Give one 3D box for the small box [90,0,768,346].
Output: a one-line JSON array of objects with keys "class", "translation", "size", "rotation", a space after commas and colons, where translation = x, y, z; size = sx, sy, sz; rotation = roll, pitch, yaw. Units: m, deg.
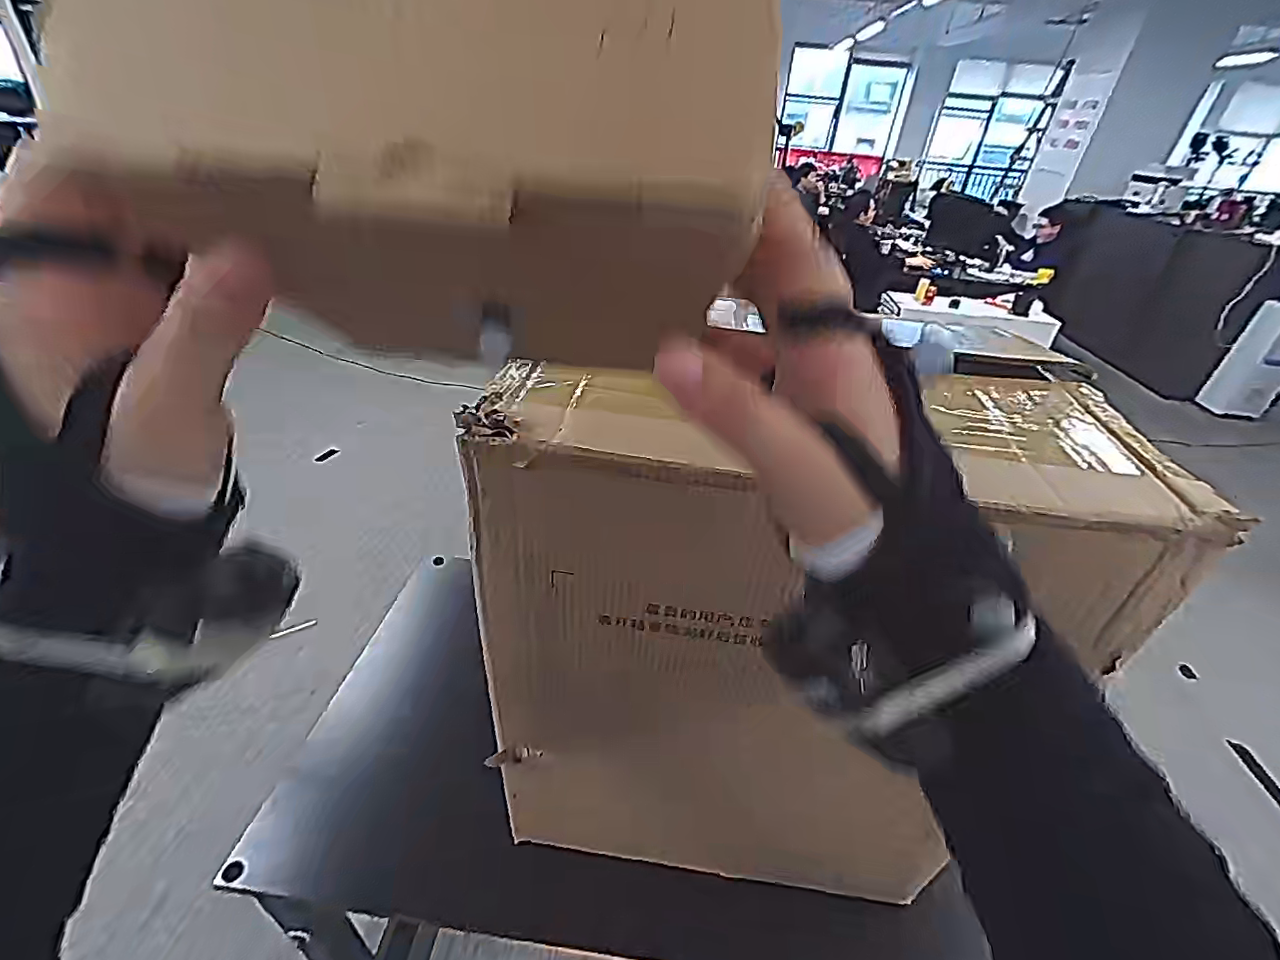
[{"class": "small box", "translation": [-0.049, -0.162, 0.215], "size": [0.168, 0.179, 0.176], "rotation": [3, -3, -3]}]
